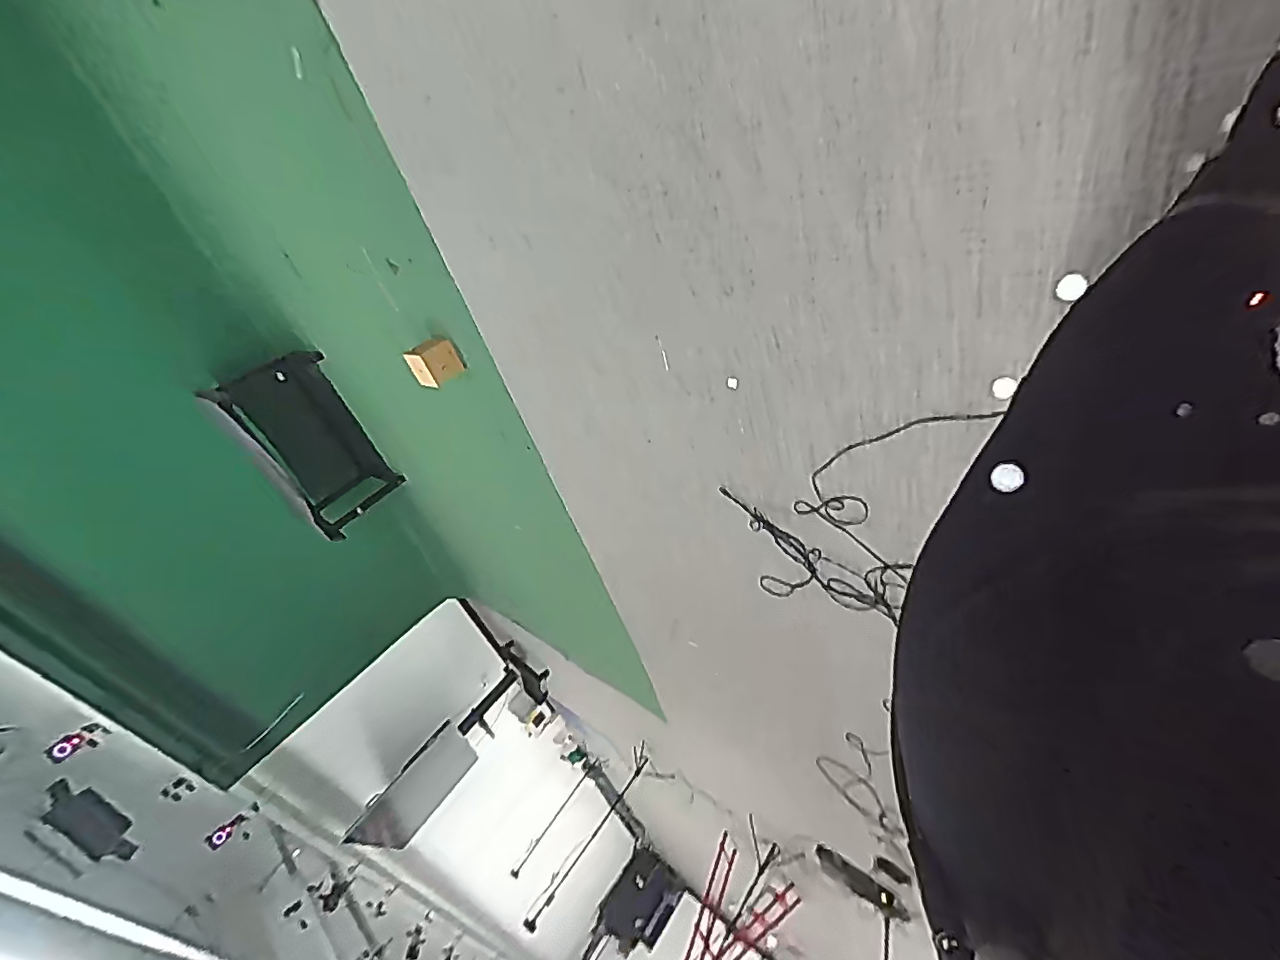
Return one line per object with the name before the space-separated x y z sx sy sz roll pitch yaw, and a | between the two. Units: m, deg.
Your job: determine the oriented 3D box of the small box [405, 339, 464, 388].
small box | -0.952 -0.548 2.529 0.179 0.176 0.168 15 138 42
